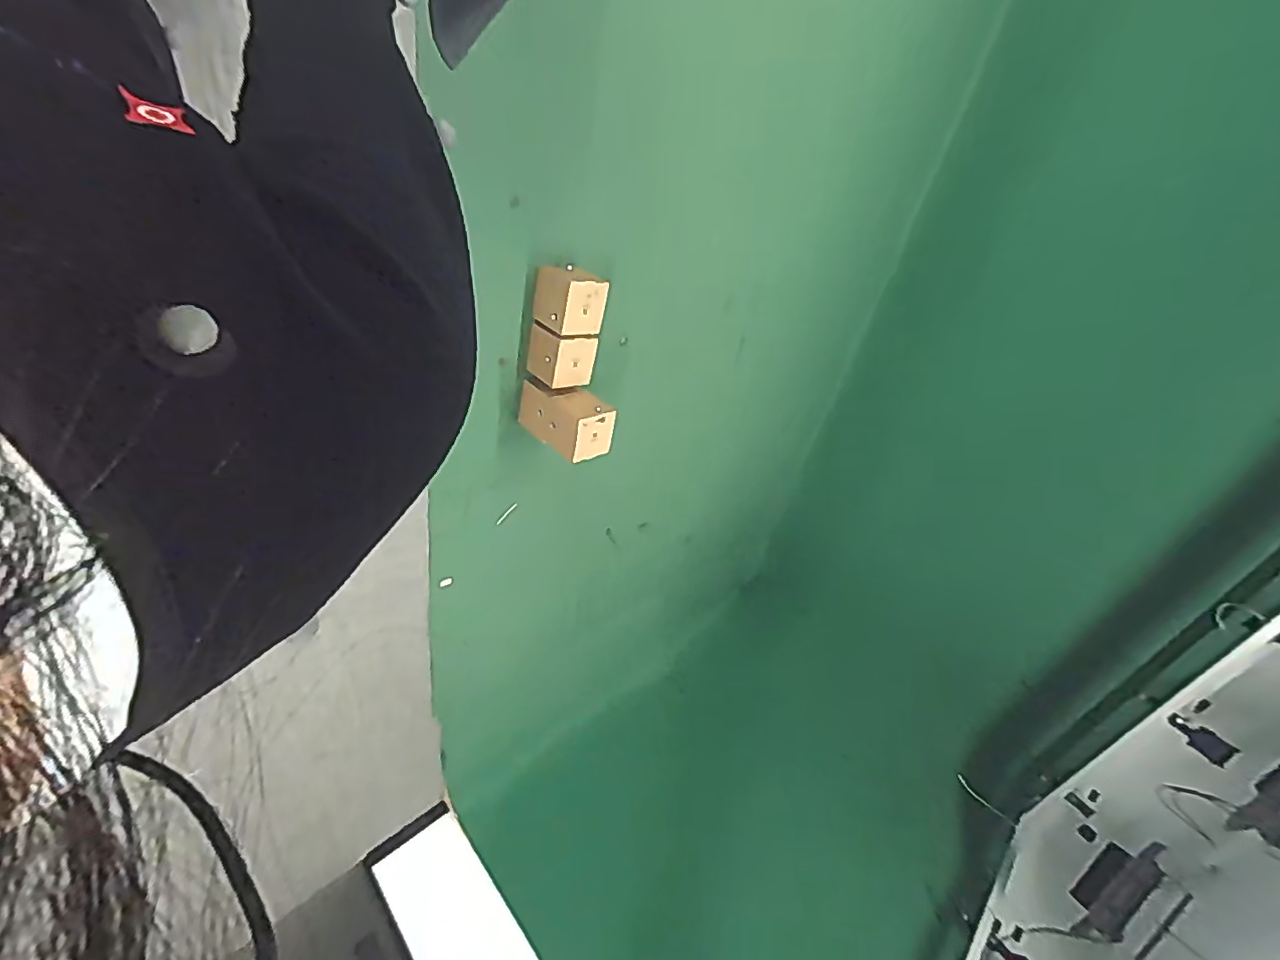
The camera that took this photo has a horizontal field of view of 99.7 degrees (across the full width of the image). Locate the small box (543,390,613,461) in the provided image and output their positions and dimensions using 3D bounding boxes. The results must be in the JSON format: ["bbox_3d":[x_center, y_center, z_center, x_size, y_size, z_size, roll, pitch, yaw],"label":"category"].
[{"bbox_3d":[-0.225,-0.196,1.900,0.168,0.176,0.179,-21,138,-41],"label":"small box"}]
